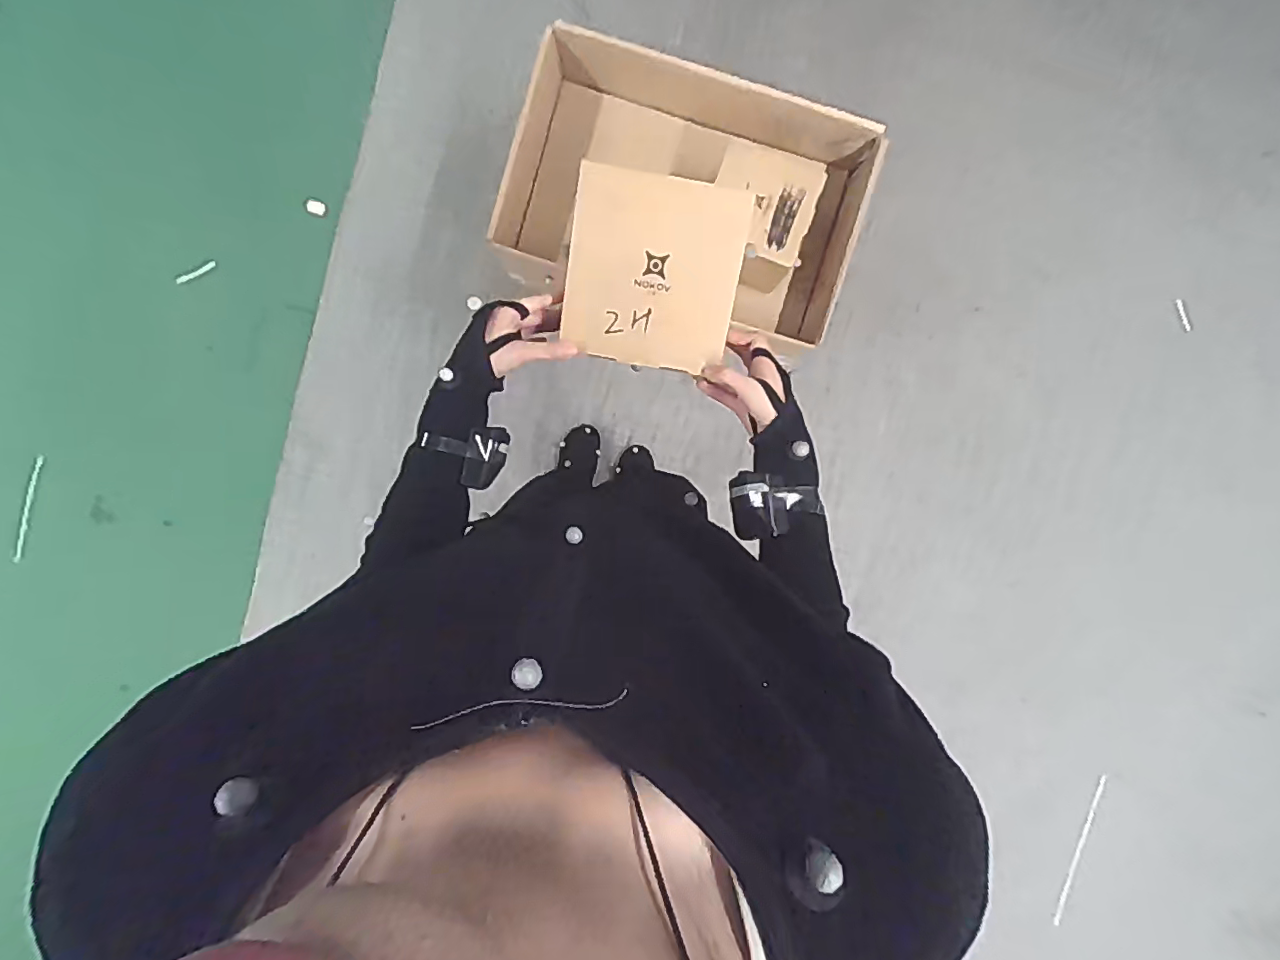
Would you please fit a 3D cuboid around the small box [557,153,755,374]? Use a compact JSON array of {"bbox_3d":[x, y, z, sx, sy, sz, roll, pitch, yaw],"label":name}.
[{"bbox_3d":[0.013,-0.222,0.590,0.168,0.176,0.179,10,106,-1],"label":"small box"}]
